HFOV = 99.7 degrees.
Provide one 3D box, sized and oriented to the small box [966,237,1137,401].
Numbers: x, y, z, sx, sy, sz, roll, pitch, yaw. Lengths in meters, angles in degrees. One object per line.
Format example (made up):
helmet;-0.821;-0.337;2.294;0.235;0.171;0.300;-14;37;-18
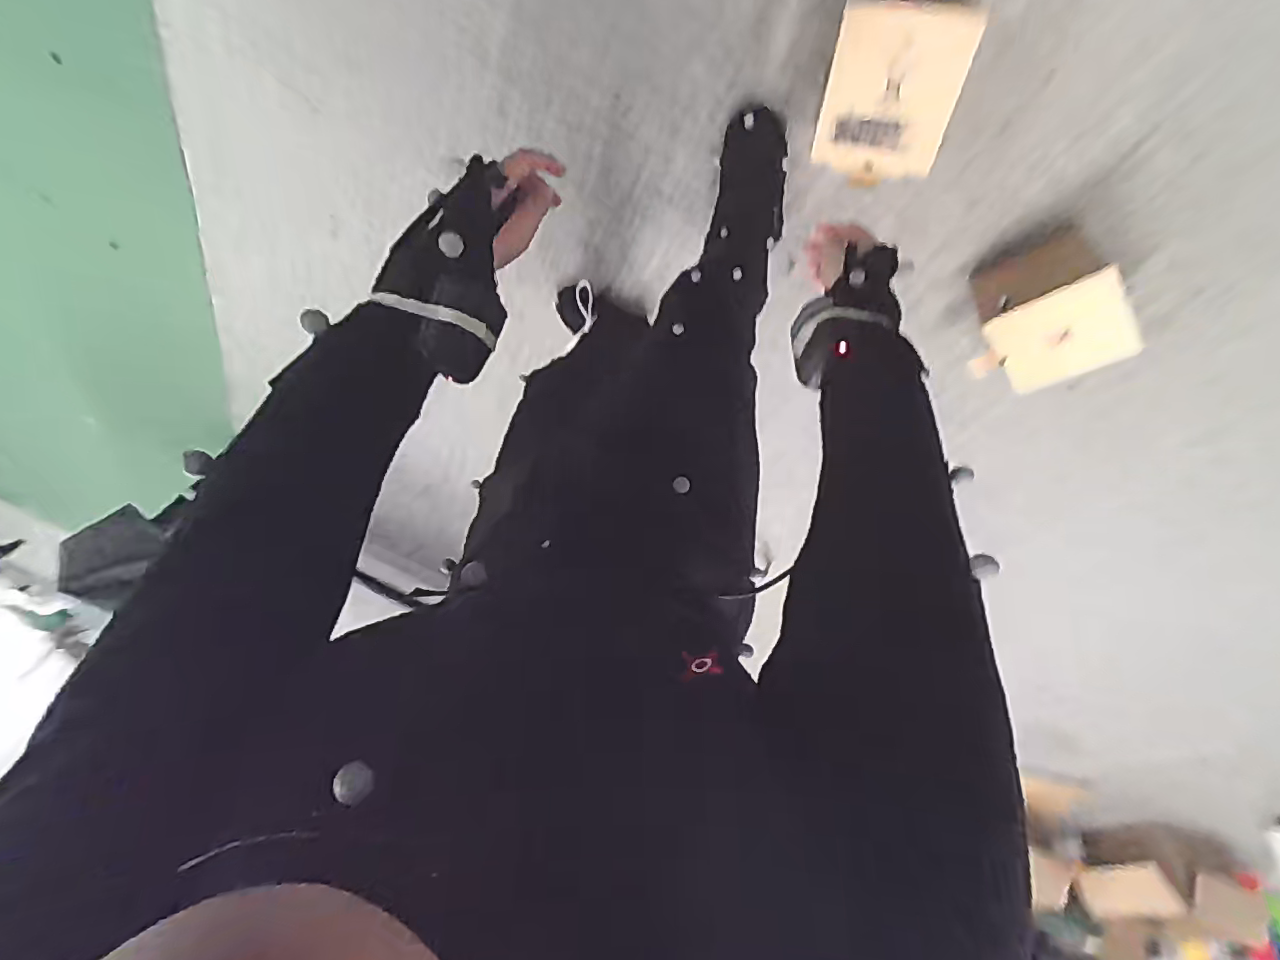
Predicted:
small box;0.684;-0.273;0.915;0.179;0.176;0.168;-24;122;39
